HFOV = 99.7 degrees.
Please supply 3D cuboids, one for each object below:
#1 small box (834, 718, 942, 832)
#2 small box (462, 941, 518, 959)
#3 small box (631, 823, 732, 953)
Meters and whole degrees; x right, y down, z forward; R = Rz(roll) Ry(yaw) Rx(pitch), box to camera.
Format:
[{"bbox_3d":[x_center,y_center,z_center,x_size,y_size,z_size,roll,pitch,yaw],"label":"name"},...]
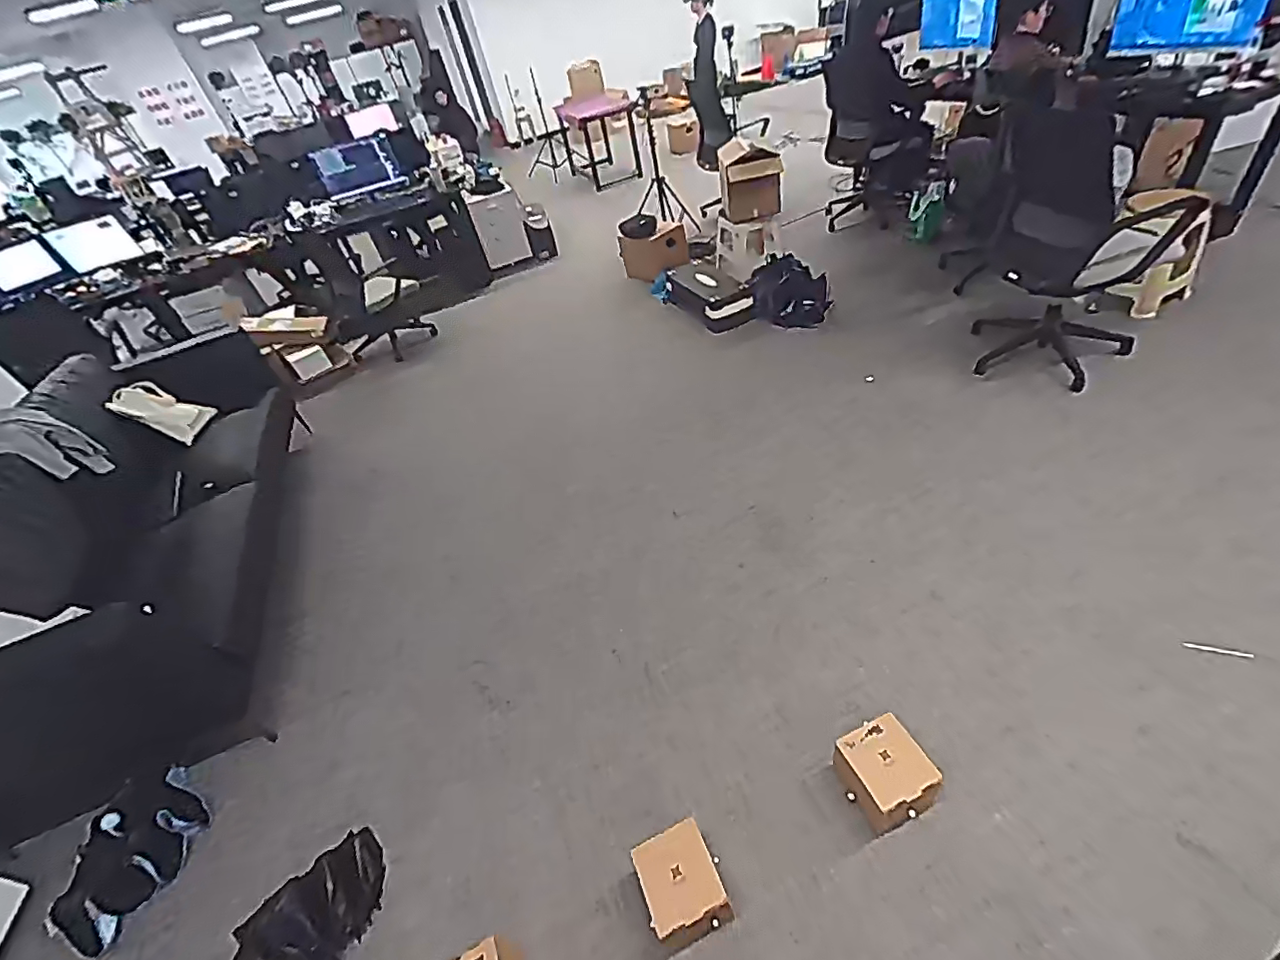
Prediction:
[{"bbox_3d":[0.595,0.727,1.321,0.168,0.176,0.179,-23,41,-9],"label":"small box"},{"bbox_3d":[-0.337,1.132,1.140,0.168,0.176,0.179,-25,42,-11],"label":"small box"},{"bbox_3d":[0.098,0.937,1.237,0.168,0.176,0.179,-23,39,-11],"label":"small box"}]
